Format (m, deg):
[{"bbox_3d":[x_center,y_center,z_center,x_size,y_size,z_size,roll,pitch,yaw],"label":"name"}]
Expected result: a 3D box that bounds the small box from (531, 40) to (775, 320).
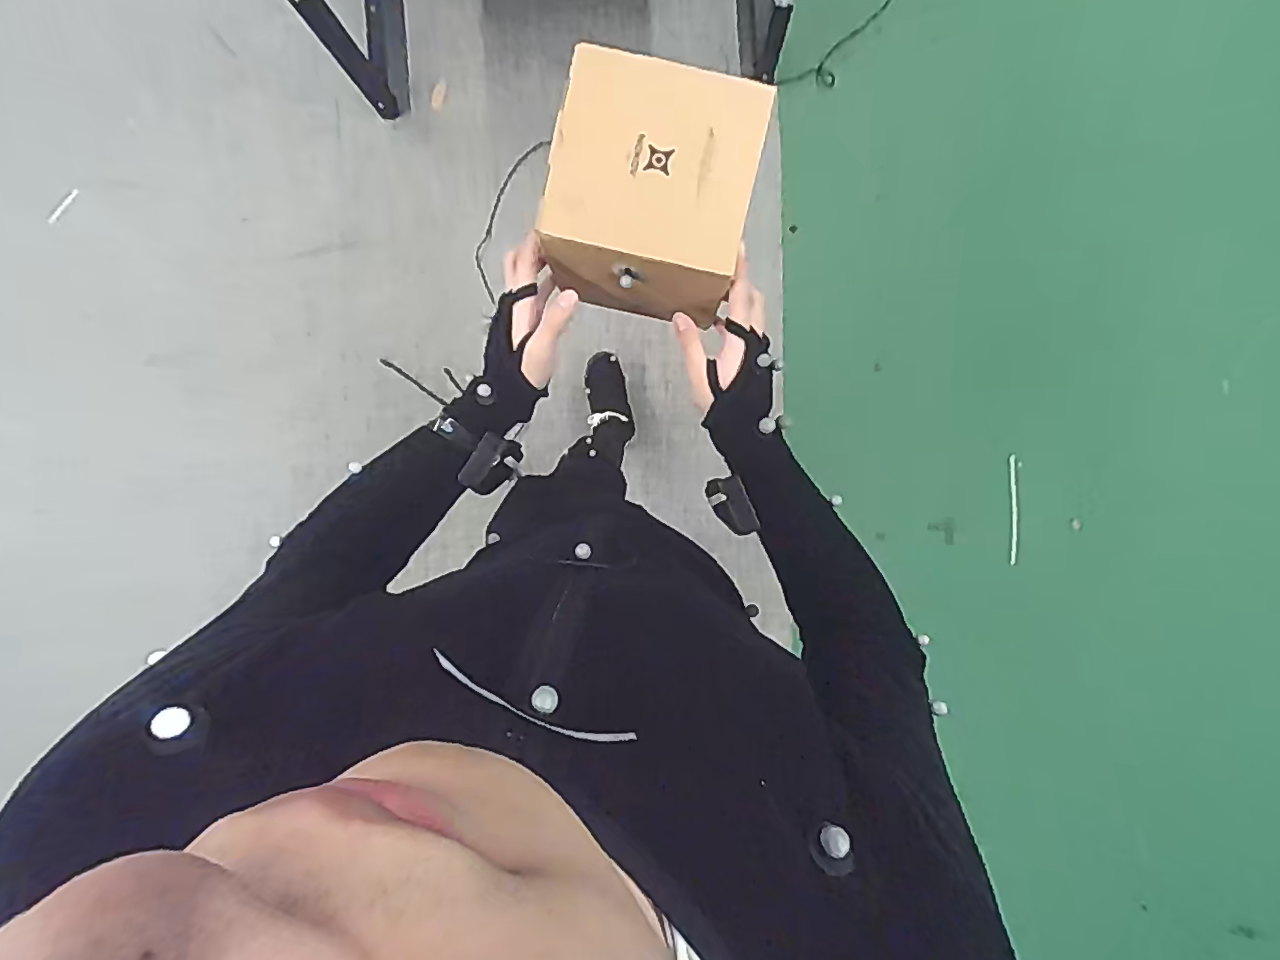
[{"bbox_3d":[0.012,-0.274,0.534,0.179,0.176,0.168,14,91,1],"label":"small box"}]
